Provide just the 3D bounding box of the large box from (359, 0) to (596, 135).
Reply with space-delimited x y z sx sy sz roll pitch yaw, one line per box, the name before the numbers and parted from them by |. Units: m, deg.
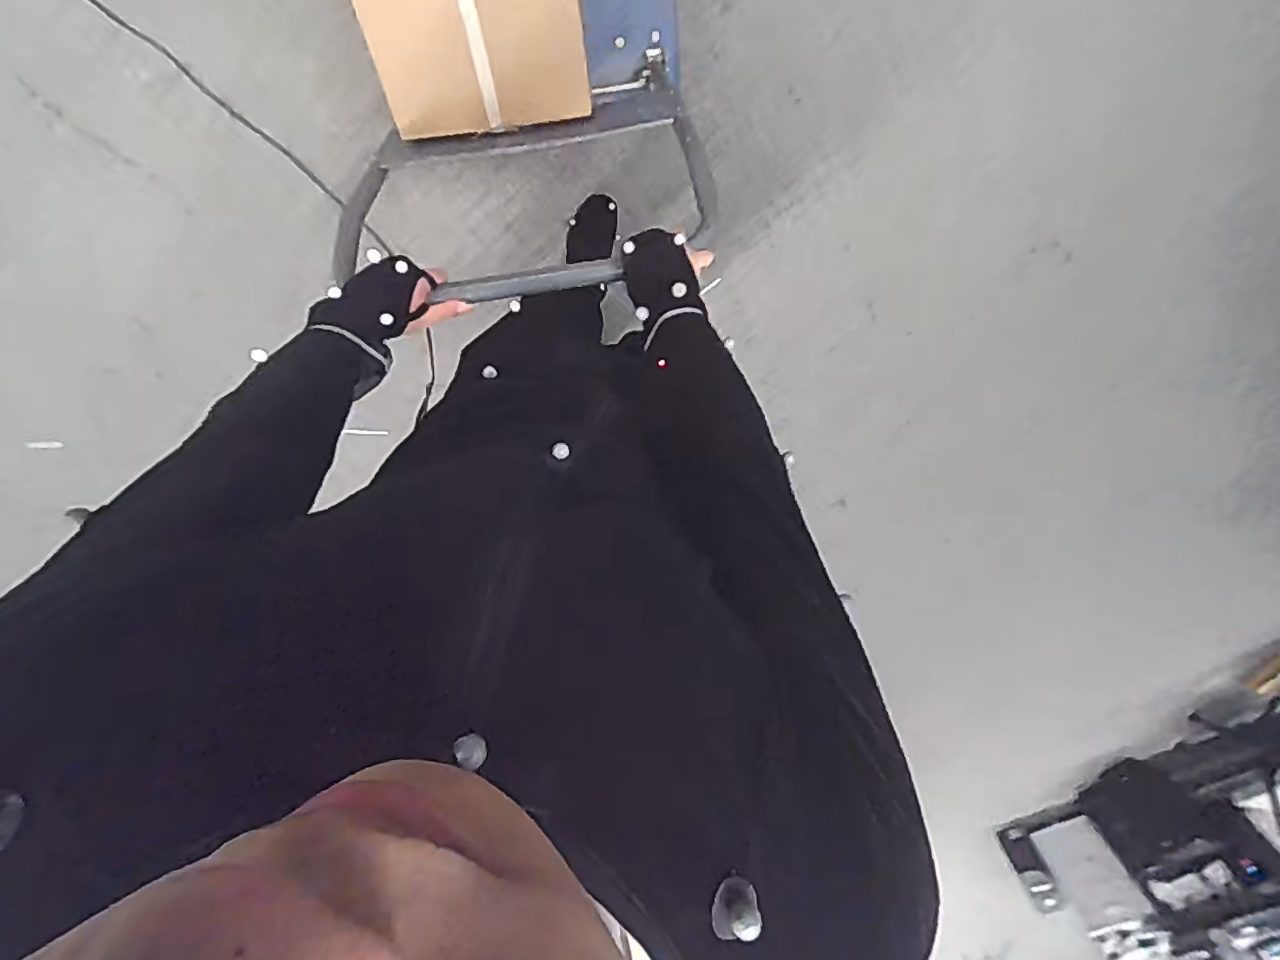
large box | -0.254 -0.816 0.831 0.320 0.320 0.408 -8 135 1
